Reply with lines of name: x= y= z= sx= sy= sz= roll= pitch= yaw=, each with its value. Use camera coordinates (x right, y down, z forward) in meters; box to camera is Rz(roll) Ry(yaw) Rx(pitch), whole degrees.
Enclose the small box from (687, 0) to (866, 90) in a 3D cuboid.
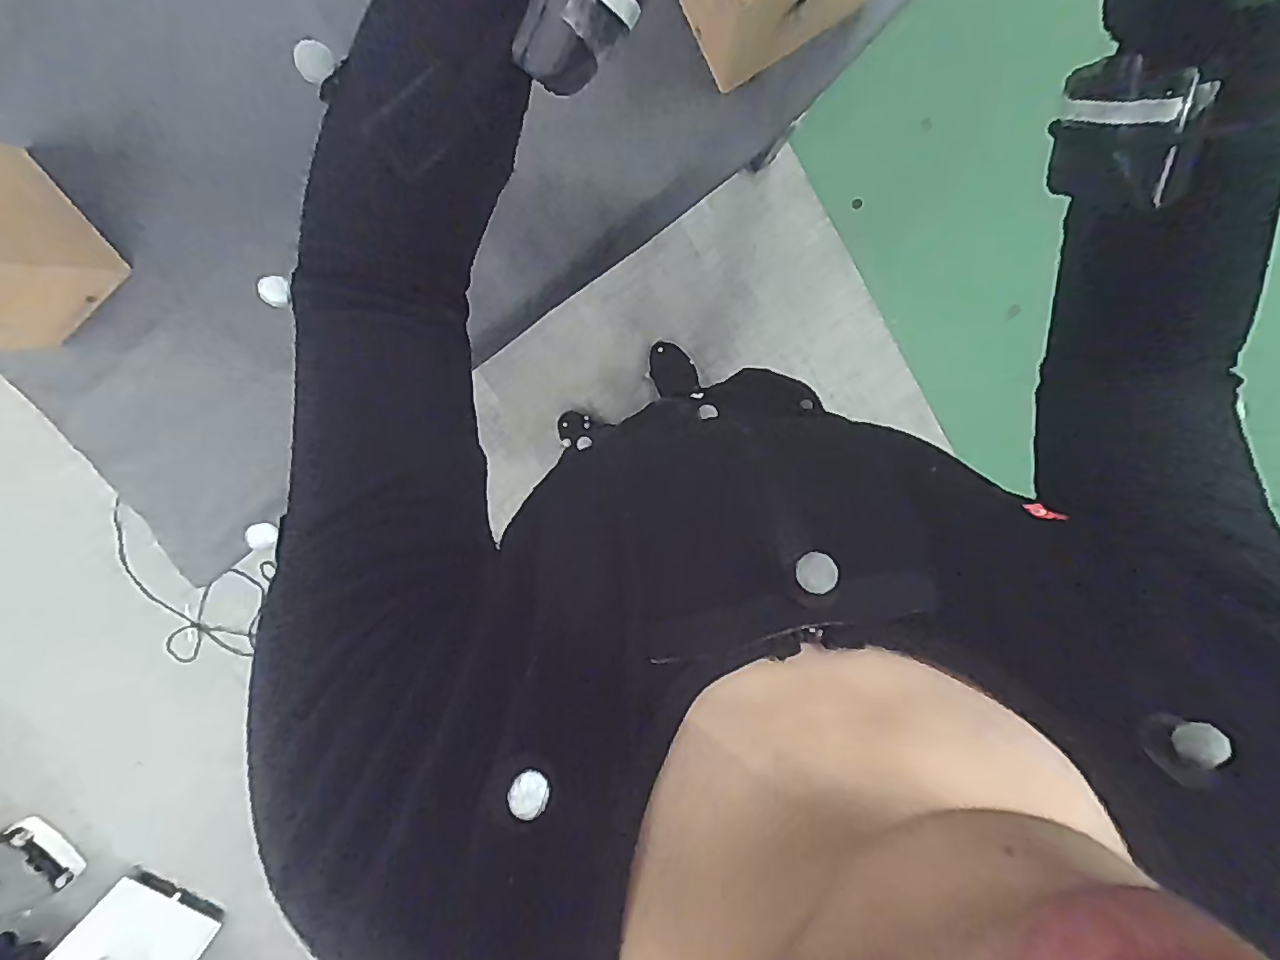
small box: x=0.127 y=-0.516 z=0.500 sx=0.179 sy=0.176 sz=0.168 roll=-28 pitch=101 yaw=11
